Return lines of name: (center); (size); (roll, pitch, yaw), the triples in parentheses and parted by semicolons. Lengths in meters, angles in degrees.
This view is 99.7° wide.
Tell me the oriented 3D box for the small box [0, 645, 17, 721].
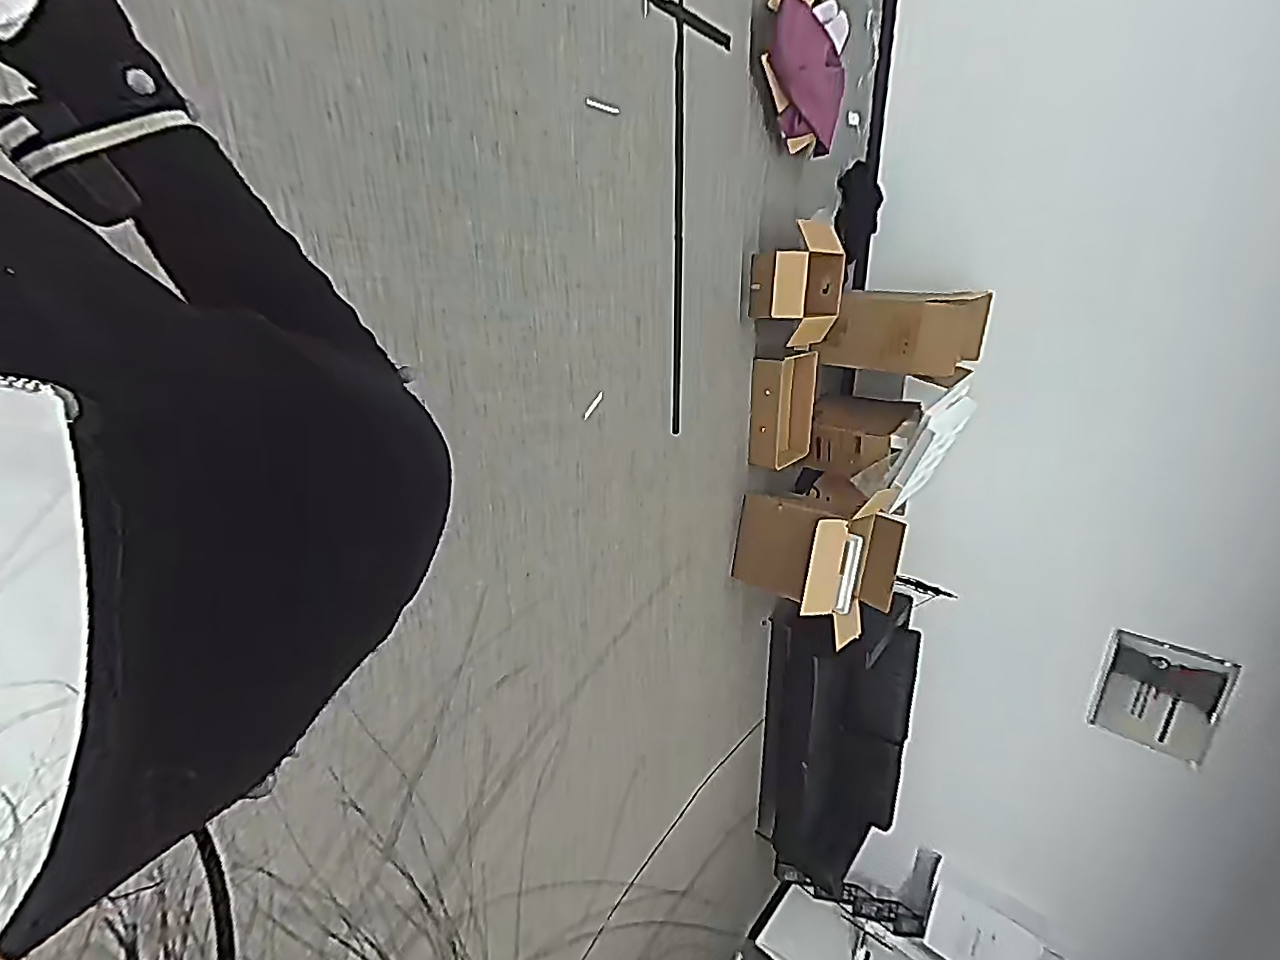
small box: (-1.083, 0.289, 0.805); (0.168, 0.176, 0.179); (-25, 120, -44)
